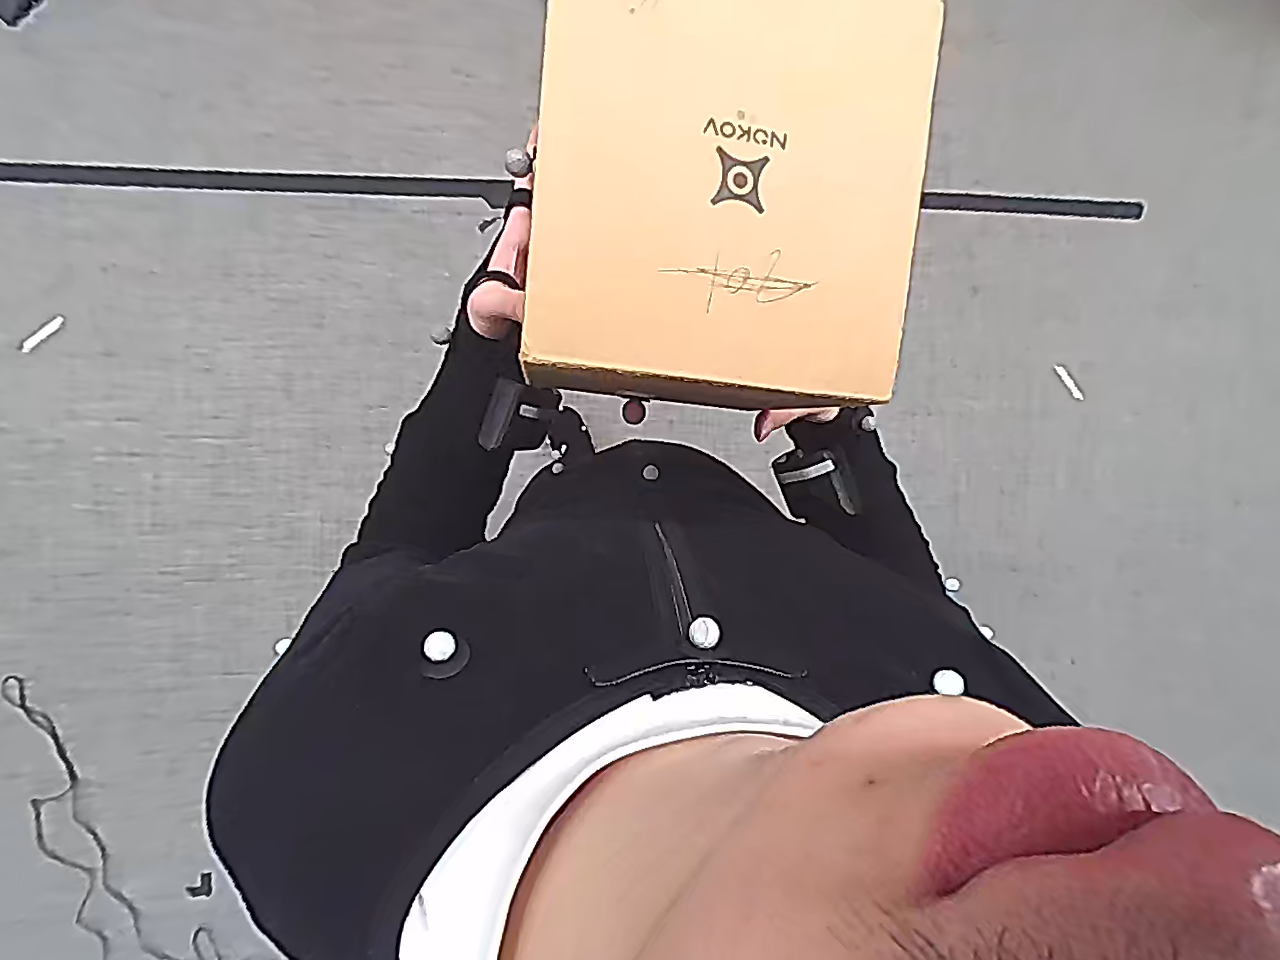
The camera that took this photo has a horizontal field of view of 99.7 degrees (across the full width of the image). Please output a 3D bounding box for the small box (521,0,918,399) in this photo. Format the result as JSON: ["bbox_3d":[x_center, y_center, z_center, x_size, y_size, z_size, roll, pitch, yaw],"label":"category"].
[{"bbox_3d":[0.022,-0.145,0.311,0.168,0.176,0.179,4,96,-11],"label":"small box"}]
